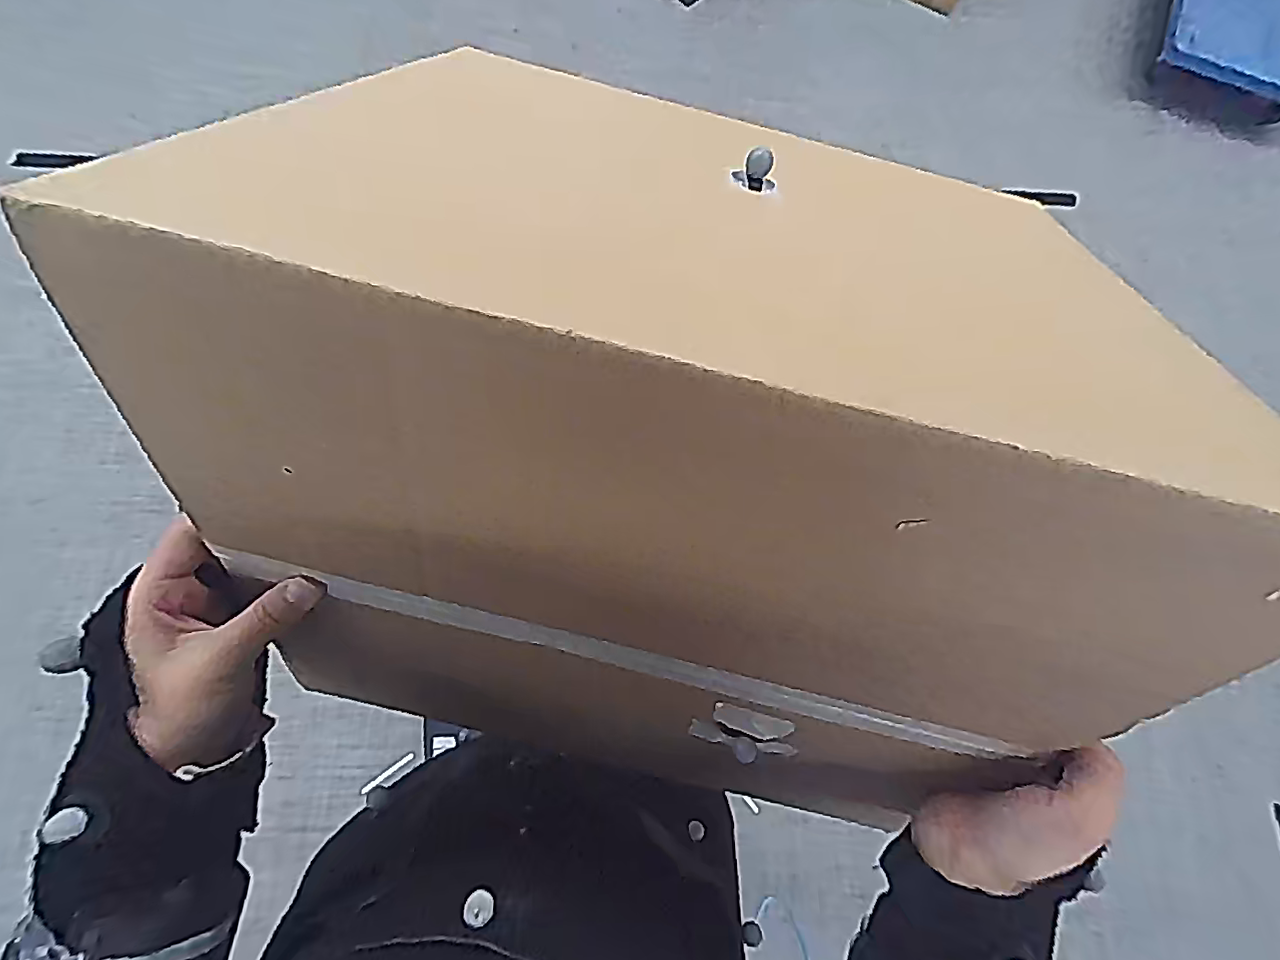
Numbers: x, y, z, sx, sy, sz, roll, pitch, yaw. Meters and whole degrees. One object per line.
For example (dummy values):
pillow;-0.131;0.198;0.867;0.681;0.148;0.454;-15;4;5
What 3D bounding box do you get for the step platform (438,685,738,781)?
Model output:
step platform;-0.105;0.493;1.260;0.684;0.204;0.286;8;76;-2
